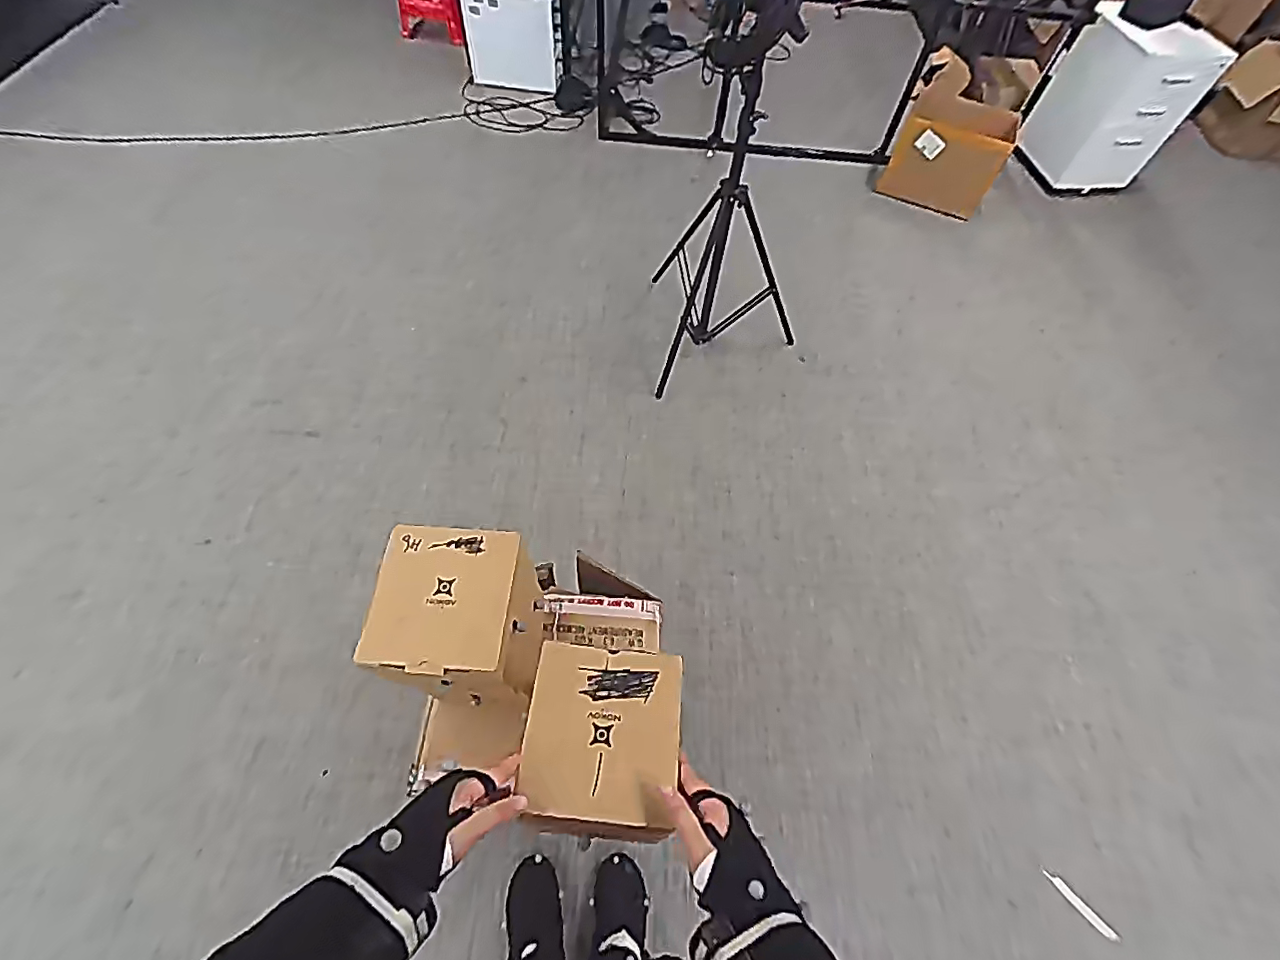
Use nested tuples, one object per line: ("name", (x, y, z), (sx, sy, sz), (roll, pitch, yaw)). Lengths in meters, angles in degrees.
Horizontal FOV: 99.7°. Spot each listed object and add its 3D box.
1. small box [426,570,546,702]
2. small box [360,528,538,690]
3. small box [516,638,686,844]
("small box", (-0.249, 0.251, 0.873), (0.168, 0.176, 0.179), (2, 61, -1))
("small box", (-0.237, 0.180, 0.725), (0.168, 0.176, 0.179), (3, 62, 0))
("small box", (-0.041, 0.312, 0.643), (0.168, 0.176, 0.179), (7, 51, 0))
